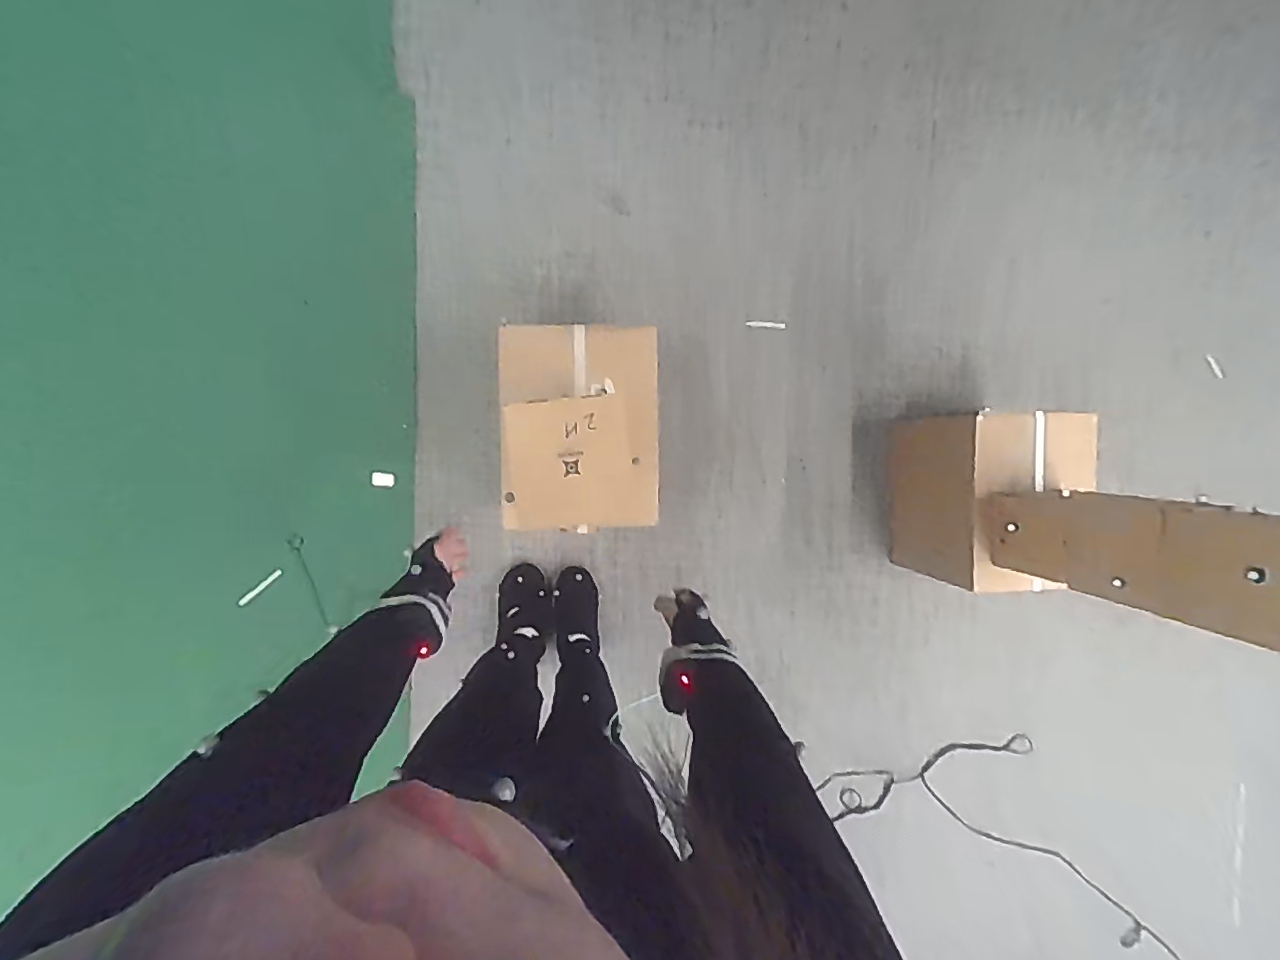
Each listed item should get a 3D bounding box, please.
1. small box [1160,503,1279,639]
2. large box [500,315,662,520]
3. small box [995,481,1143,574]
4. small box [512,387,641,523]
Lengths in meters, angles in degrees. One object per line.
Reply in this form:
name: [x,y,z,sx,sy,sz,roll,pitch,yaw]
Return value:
small box: [0.939,0.129,0.808,0.168,0.176,0.179,1,96,-7]
large box: [-0.131,-0.130,1.217,0.320,0.320,0.408,-1,93,-8]
small box: [0.890,0.092,1.132,0.179,0.176,0.168,-2,95,-6]
small box: [-0.094,-0.040,0.815,0.168,0.176,0.179,-6,93,-8]
